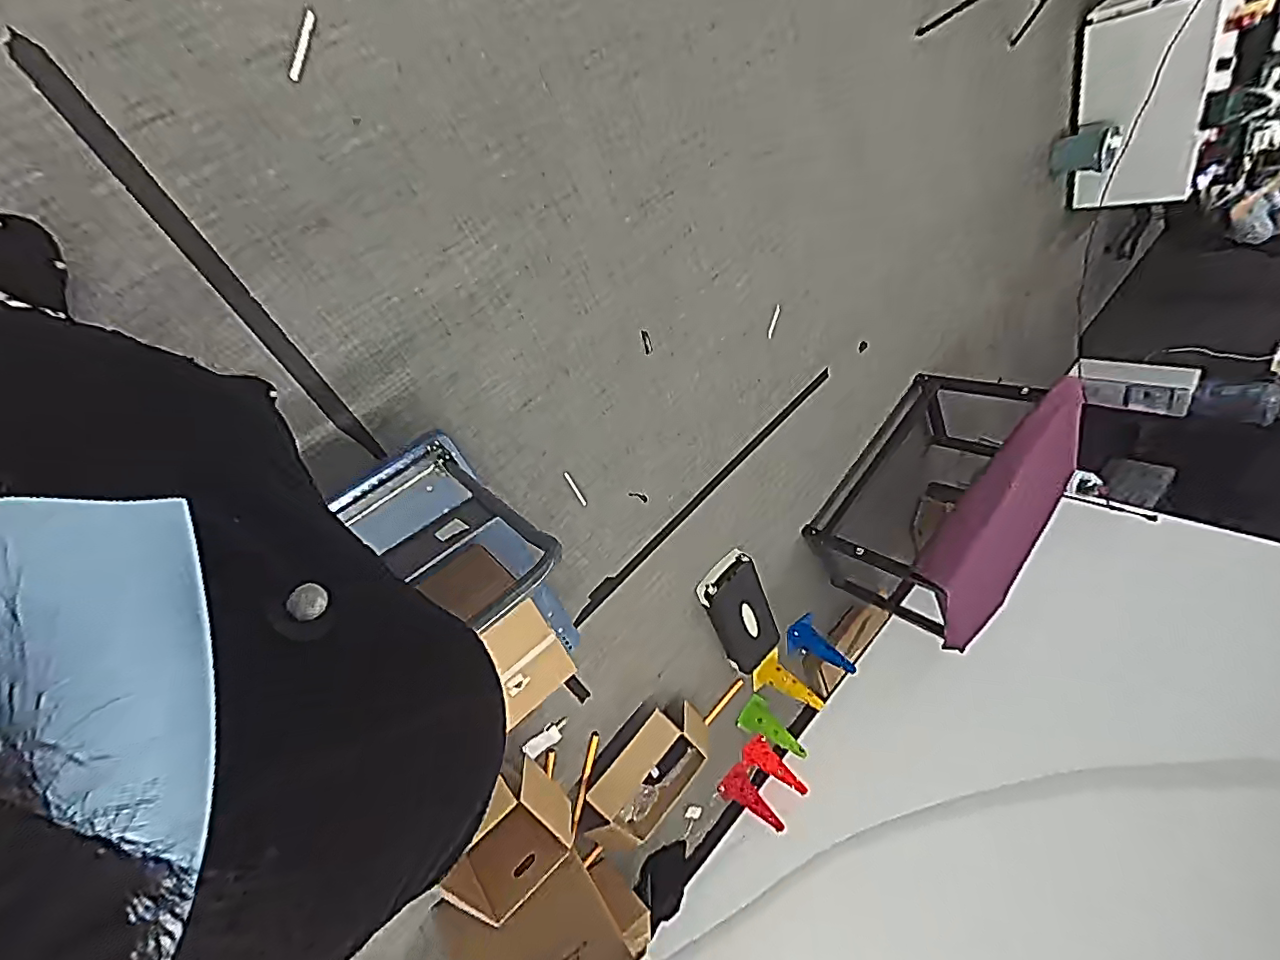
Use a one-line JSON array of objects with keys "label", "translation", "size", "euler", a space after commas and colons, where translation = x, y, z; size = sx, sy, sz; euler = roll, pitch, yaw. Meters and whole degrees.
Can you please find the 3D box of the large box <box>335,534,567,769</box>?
[{"label": "large box", "translation": [-0.471, 0.412, 1.369], "size": [0.408, 0.320, 0.320], "euler": [-38, 128, -23]}]
